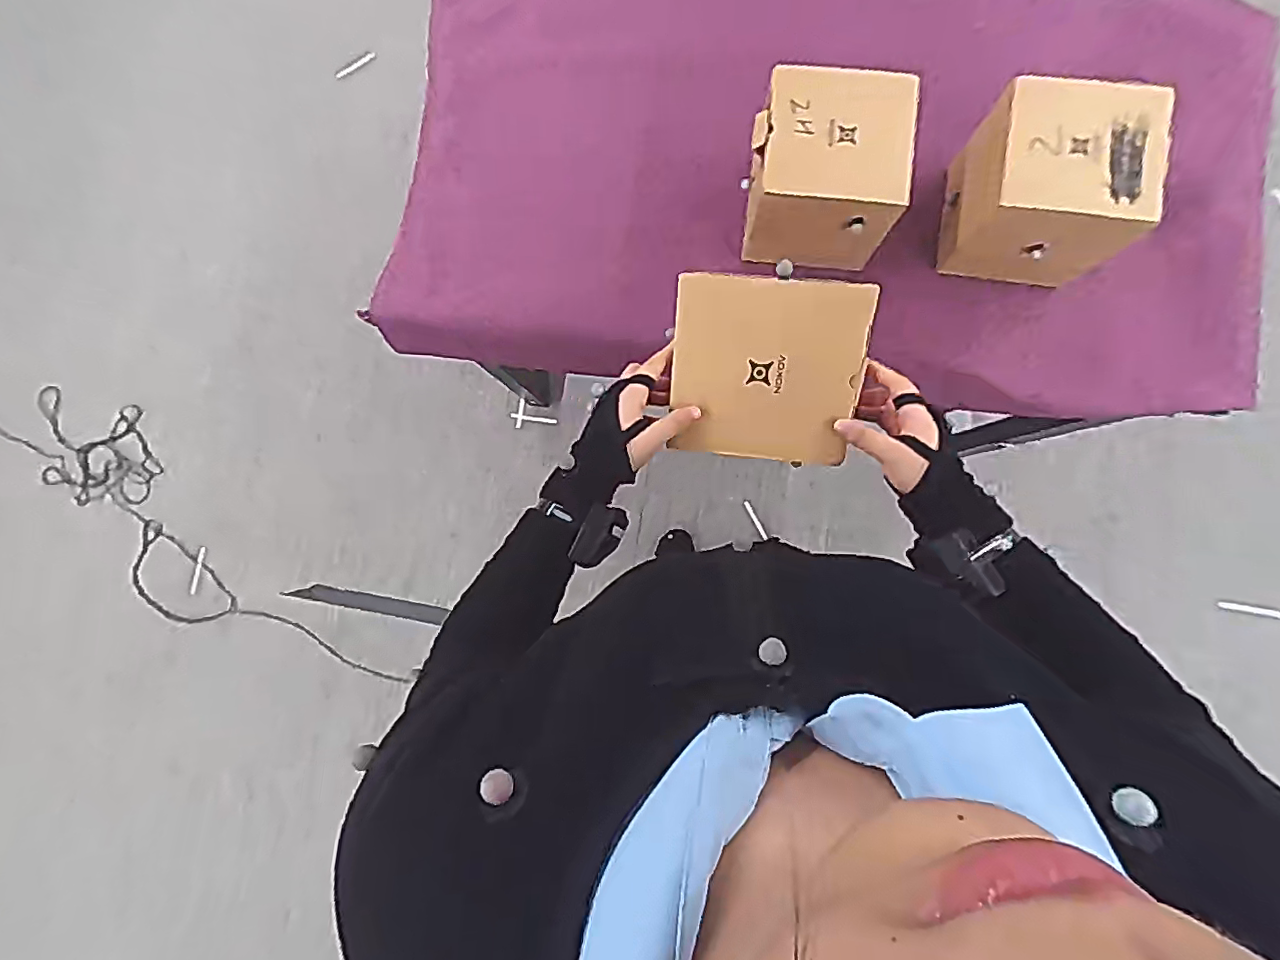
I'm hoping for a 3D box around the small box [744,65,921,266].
[{"bbox_3d":[0.244,-0.405,0.723,0.179,0.176,0.168,7,85,5],"label":"small box"}]

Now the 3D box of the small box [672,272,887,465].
[{"bbox_3d":[0.134,-0.124,0.577,0.179,0.176,0.168,6,108,6],"label":"small box"}]
